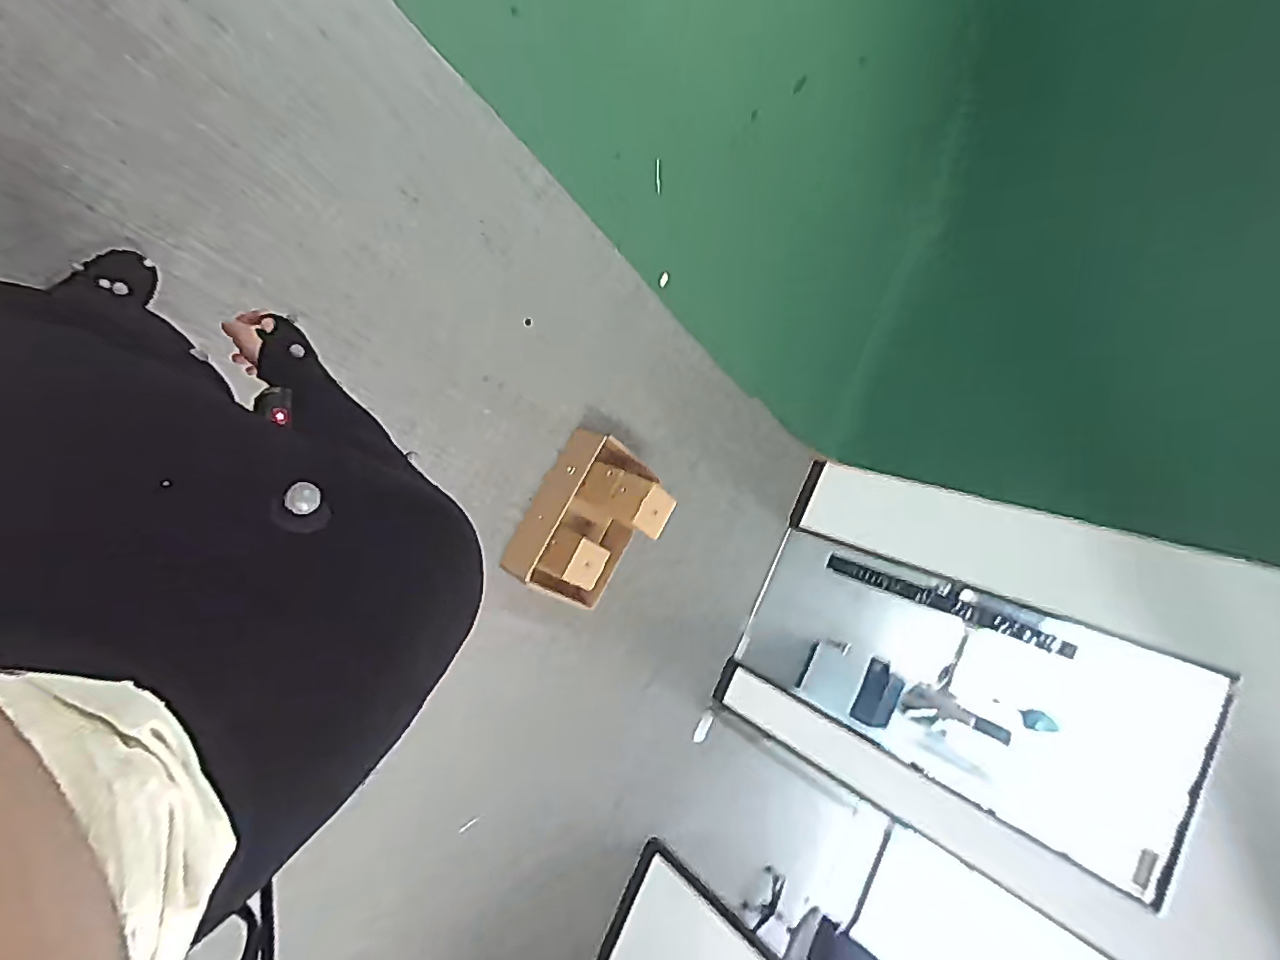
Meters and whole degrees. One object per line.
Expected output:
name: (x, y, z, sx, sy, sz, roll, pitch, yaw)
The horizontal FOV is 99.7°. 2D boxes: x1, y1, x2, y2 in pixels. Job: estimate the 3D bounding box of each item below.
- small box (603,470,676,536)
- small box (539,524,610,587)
small box: (-0.004, 0.082, 2.027, 0.179, 0.176, 0.168, 39, 77, -47)
small box: (-0.253, 0.288, 2.085, 0.179, 0.176, 0.168, 38, 75, -46)
